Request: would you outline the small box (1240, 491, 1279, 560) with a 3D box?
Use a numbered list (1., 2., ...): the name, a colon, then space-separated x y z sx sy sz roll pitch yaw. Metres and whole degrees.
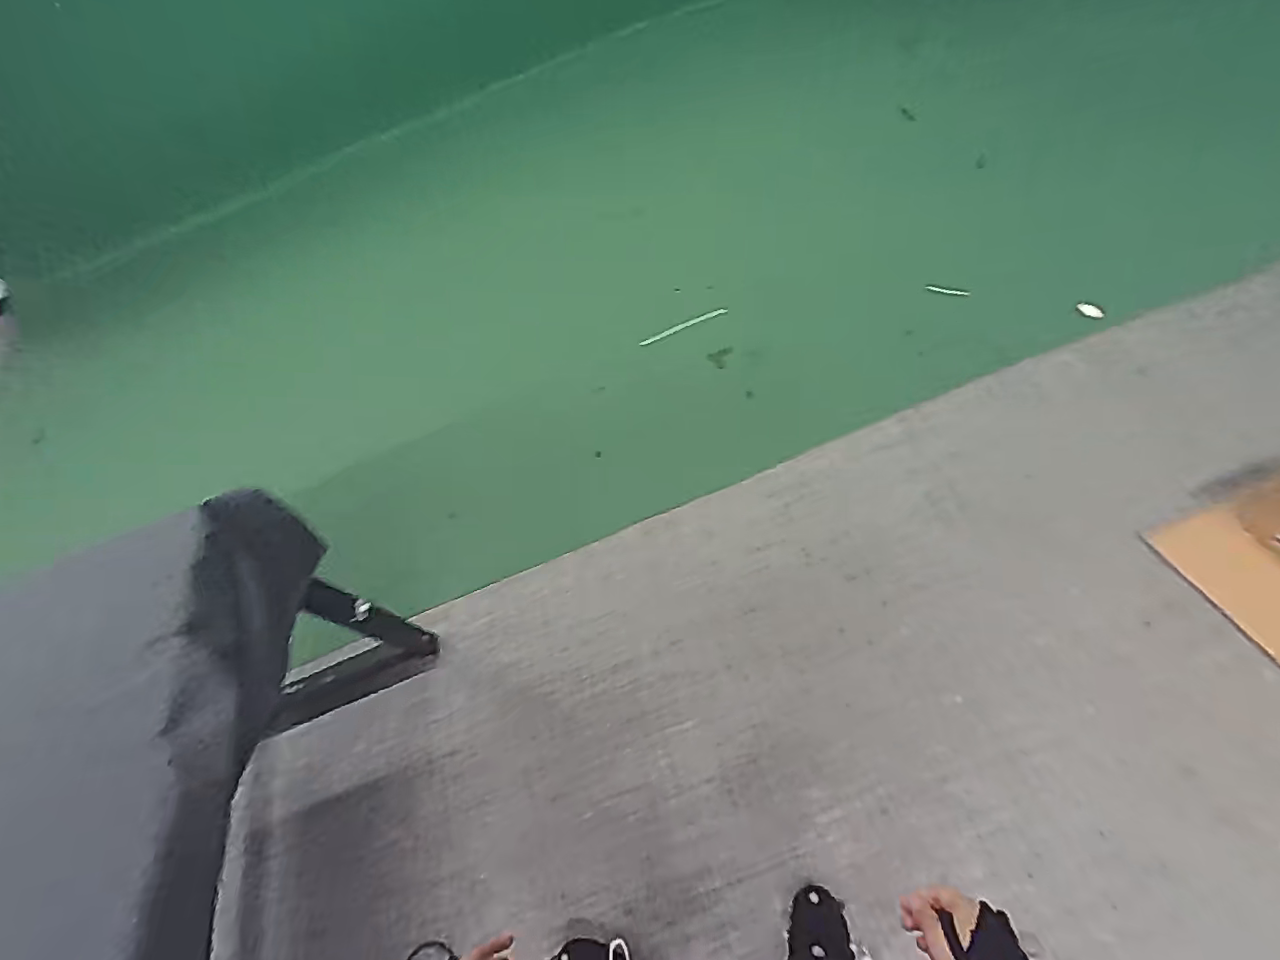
1. small box: 1.353 0.071 1.042 0.179 0.176 0.168 -25 55 1
